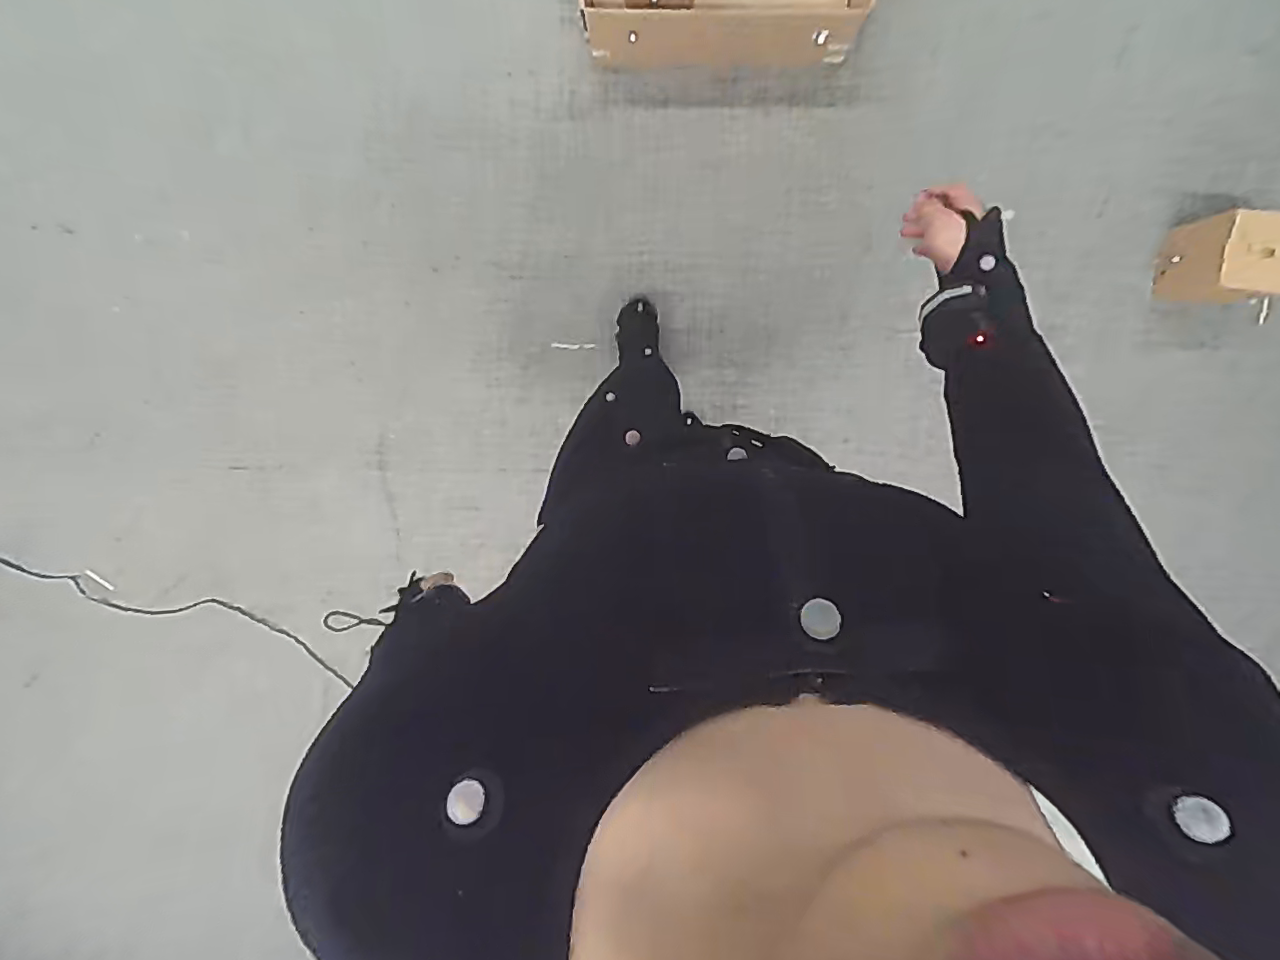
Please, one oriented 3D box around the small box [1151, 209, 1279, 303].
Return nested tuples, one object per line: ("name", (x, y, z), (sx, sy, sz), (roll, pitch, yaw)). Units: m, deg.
("small box", (1.379, -0.518, 1.272), (0.179, 0.176, 0.168), (6, 100, 0))
